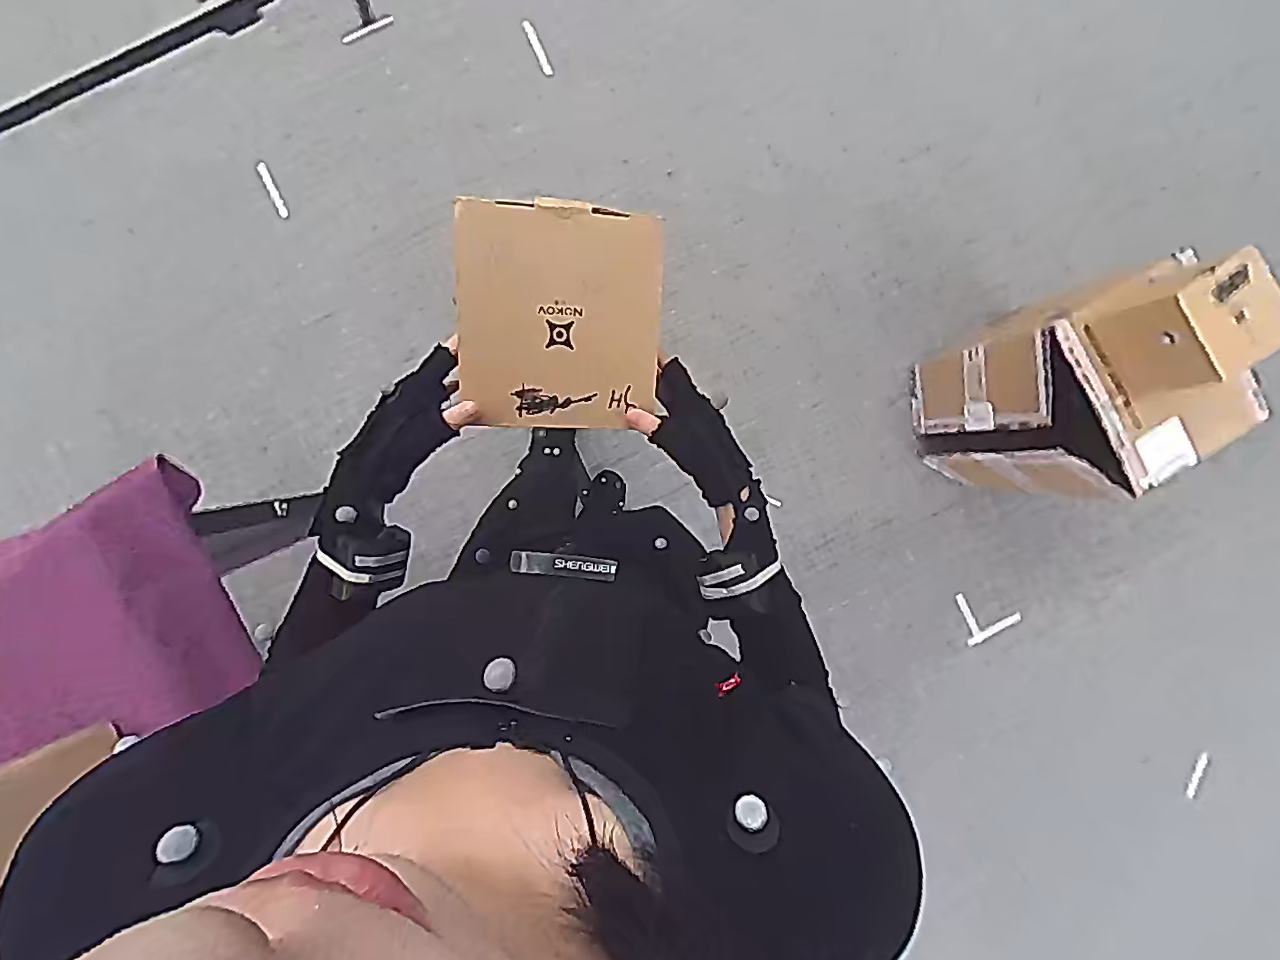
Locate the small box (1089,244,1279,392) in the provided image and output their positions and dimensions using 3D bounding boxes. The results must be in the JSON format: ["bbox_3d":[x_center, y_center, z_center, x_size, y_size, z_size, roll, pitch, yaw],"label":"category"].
[{"bbox_3d":[0.977,-0.279,0.976,0.168,0.176,0.179,-32,93,-2],"label":"small box"}]

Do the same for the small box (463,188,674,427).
[{"bbox_3d":[-0.072,-0.153,0.515,0.168,0.176,0.179,2,105,-10],"label":"small box"}]
